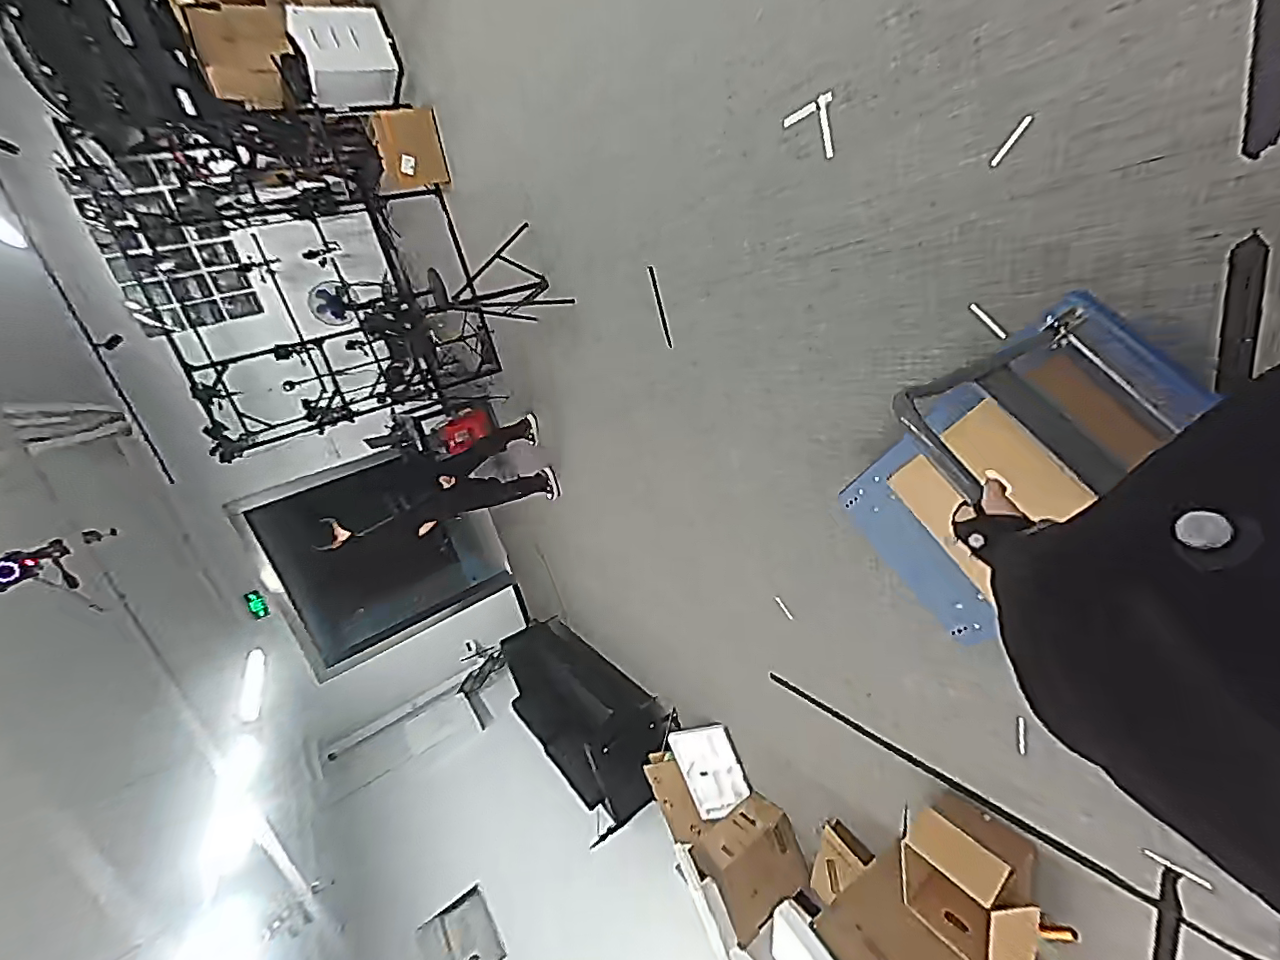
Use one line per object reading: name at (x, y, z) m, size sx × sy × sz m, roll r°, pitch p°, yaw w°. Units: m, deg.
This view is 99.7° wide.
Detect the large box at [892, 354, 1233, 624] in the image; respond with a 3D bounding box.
large box at (0.841, 0.016, 1.120) m, size 0.408 × 0.320 × 0.320 m, roll 56°, pitch 151°, yaw 19°
